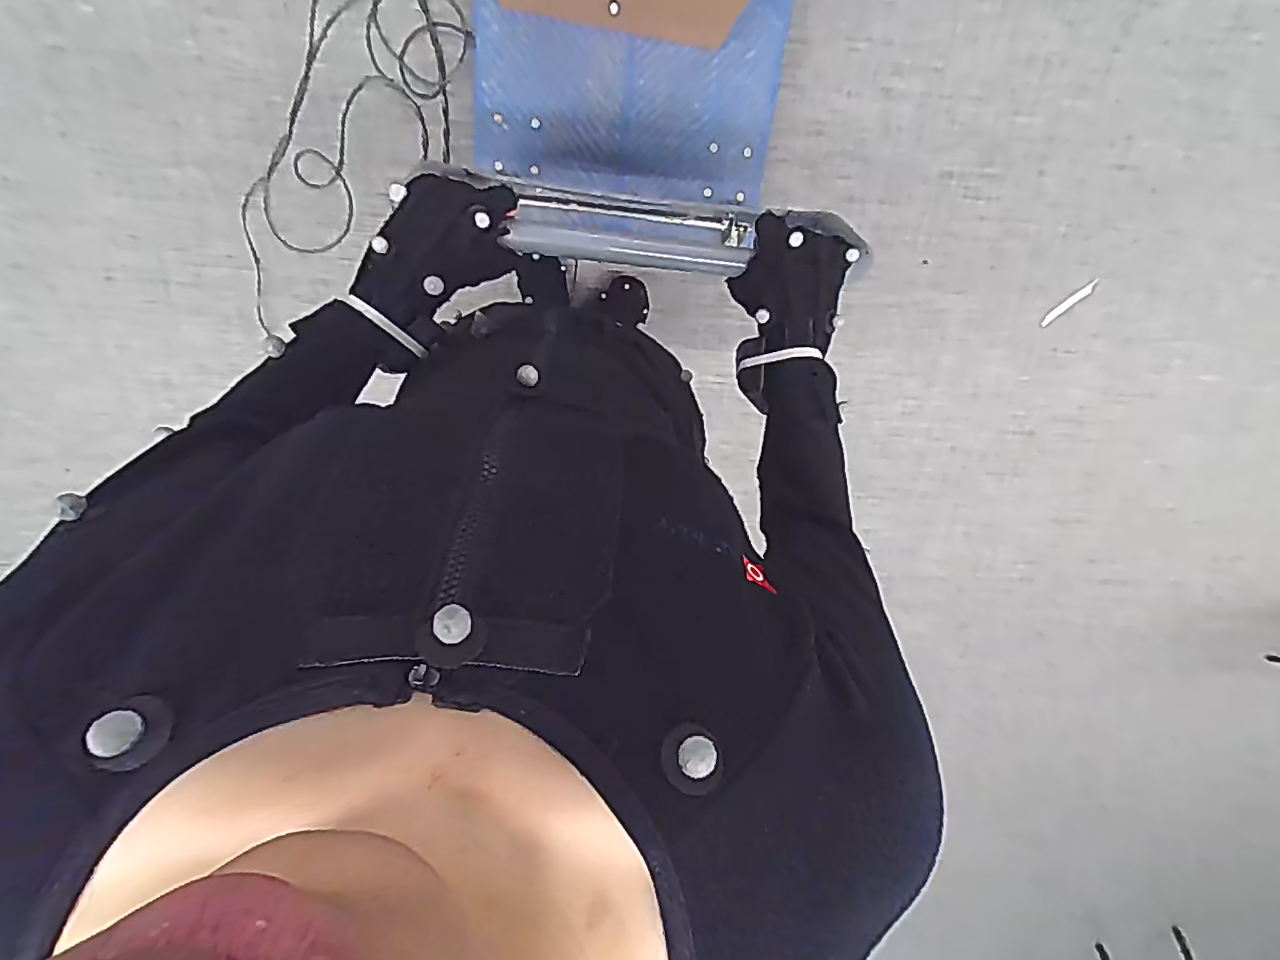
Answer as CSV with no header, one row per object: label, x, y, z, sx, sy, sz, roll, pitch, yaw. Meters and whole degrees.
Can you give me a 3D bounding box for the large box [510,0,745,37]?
large box,-0.017,-0.913,0.795,0.408,0.320,0.320,6,114,-6
